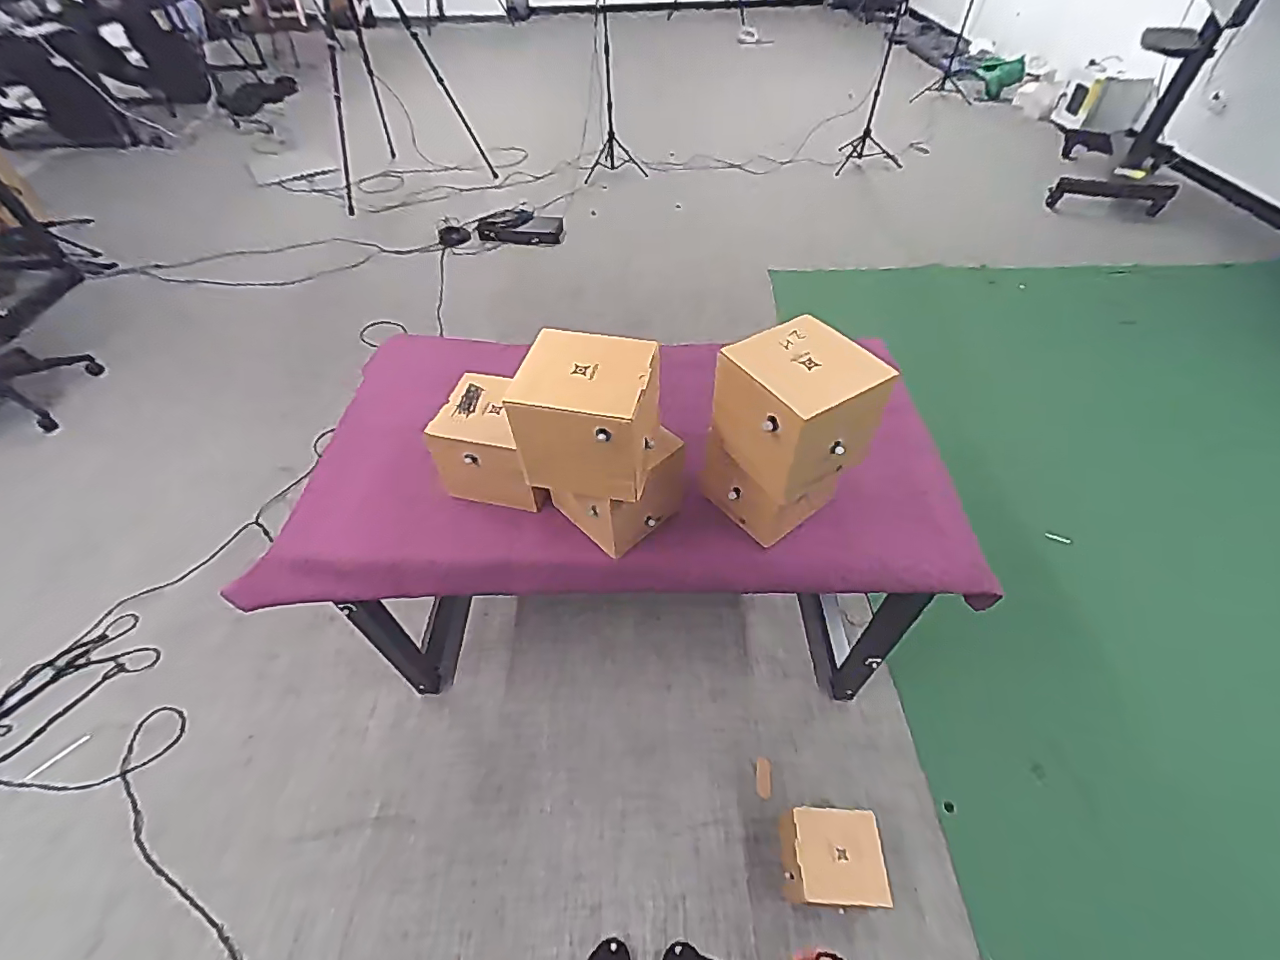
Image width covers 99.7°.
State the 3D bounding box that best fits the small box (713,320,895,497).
[{"bbox_3d":[0.223,-0.098,0.785,0.168,0.176,0.179,-25,51,-20],"label":"small box"}]

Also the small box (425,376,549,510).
[{"bbox_3d":[-0.252,-0.064,0.983,0.179,0.176,0.168,10,50,8],"label":"small box"}]

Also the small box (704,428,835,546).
[{"bbox_3d":[0.227,-0.019,0.935,0.179,0.176,0.168,-32,55,-23],"label":"small box"}]

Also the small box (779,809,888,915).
[{"bbox_3d":[0.402,0.826,1.165,0.179,0.176,0.168,2,50,2],"label":"small box"}]

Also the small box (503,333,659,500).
[{"bbox_3d":[-0.073,-0.089,0.786,0.179,0.176,0.168,9,50,8],"label":"small box"}]
